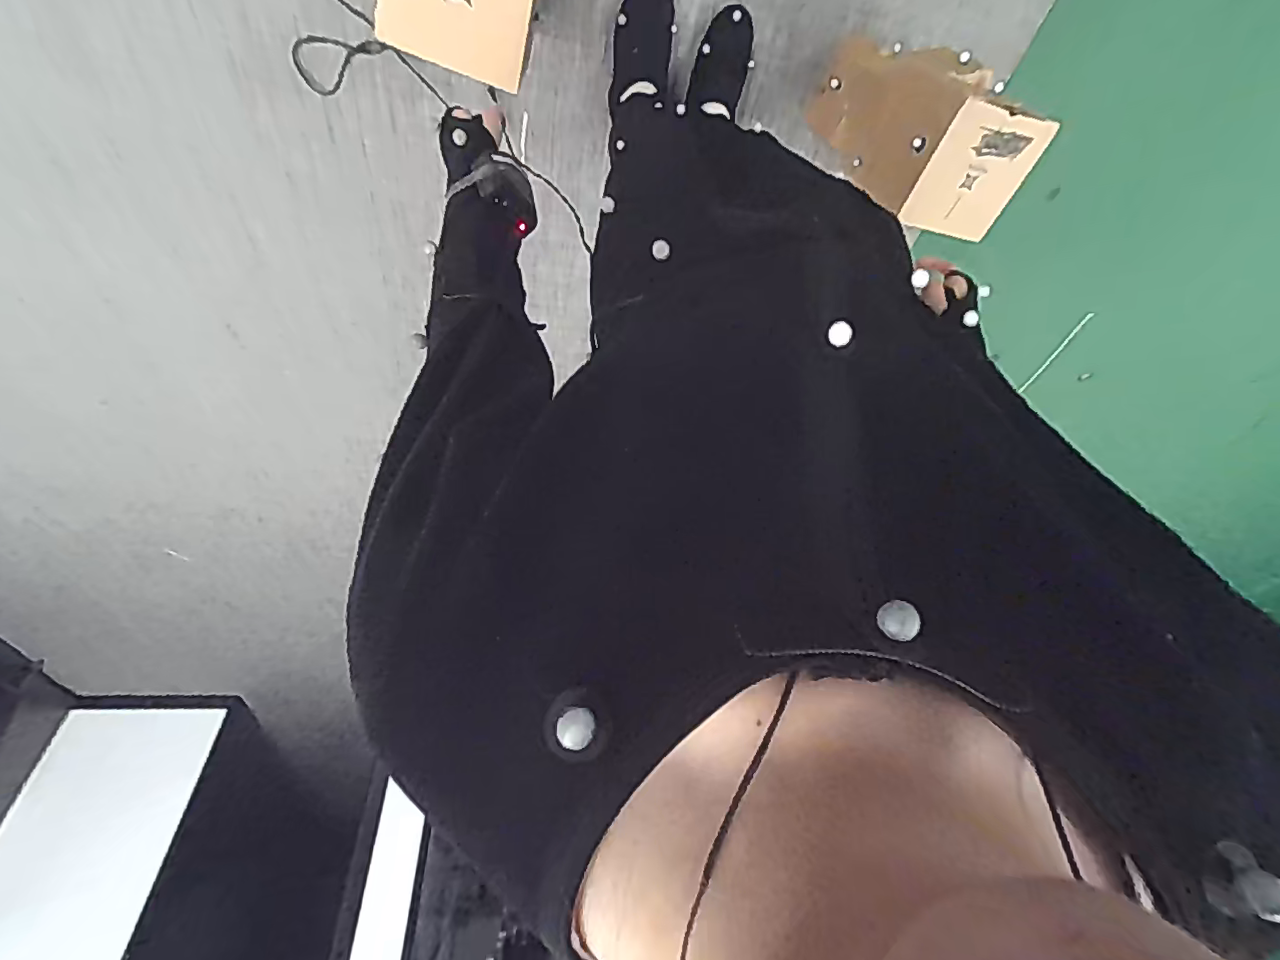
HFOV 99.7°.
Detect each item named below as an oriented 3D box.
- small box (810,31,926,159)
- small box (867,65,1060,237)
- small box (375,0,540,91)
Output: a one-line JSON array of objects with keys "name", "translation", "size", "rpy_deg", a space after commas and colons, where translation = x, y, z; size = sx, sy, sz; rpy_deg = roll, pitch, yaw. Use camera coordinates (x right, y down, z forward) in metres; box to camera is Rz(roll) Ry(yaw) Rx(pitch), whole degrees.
[{"name": "small box", "translation": [0.472, -0.765, 1.087], "size": [0.179, 0.176, 0.168], "rpy_deg": [13, 136, -19]}, {"name": "small box", "translation": [0.496, -0.525, 0.863], "size": [0.168, 0.176, 0.179], "rpy_deg": [6, 138, -14]}, {"name": "small box", "translation": [-0.214, -0.631, 0.675], "size": [0.179, 0.176, 0.168], "rpy_deg": [12, 134, -17]}]
